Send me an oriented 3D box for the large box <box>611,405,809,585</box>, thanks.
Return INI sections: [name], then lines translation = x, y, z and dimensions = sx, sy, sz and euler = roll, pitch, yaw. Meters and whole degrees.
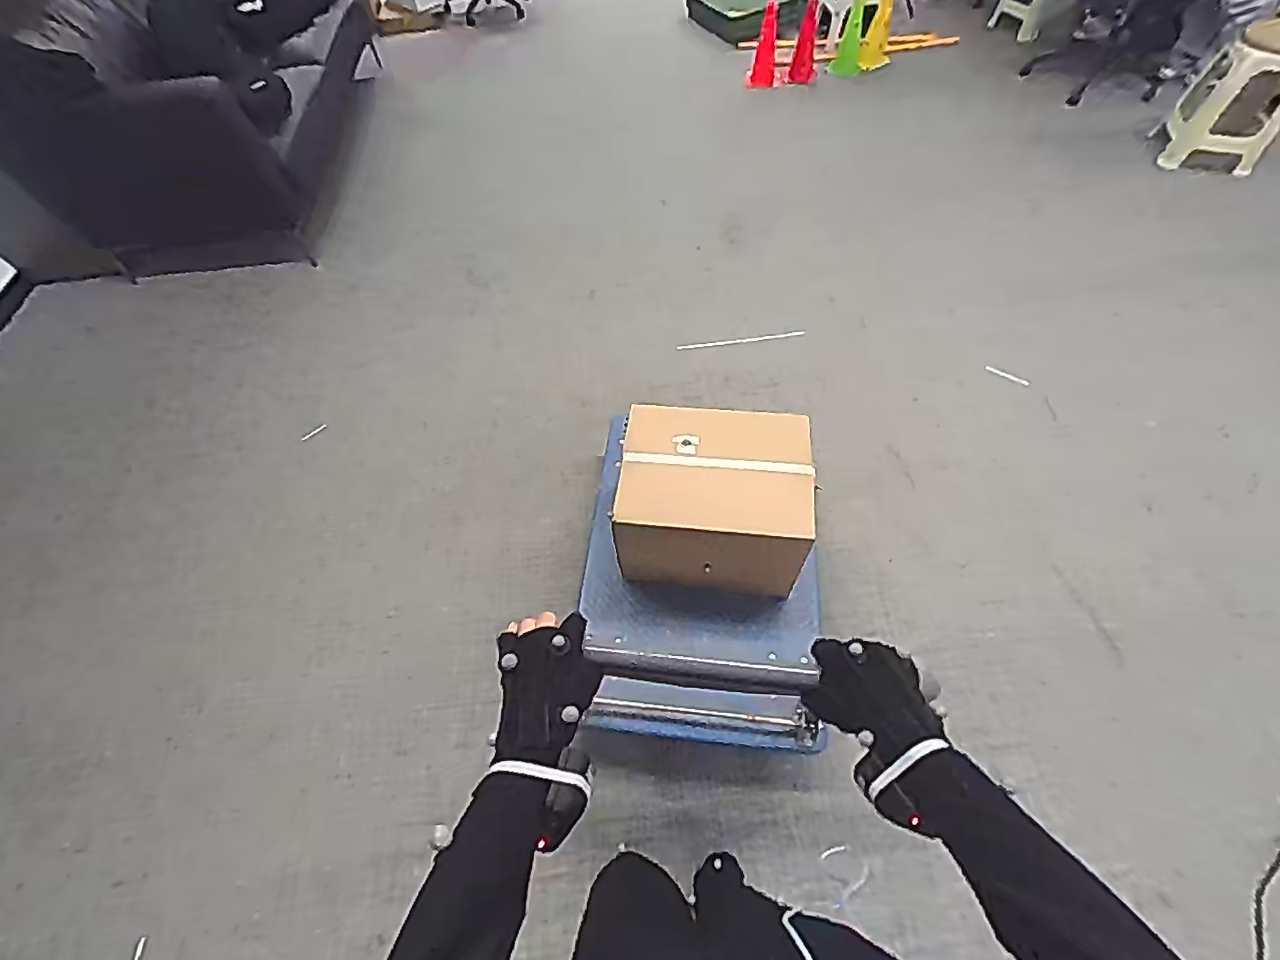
[large box]
translation = 0.165, 0.042, 1.291
dimensions = 0.408, 0.320, 0.320
euler = 4, 57, 7
